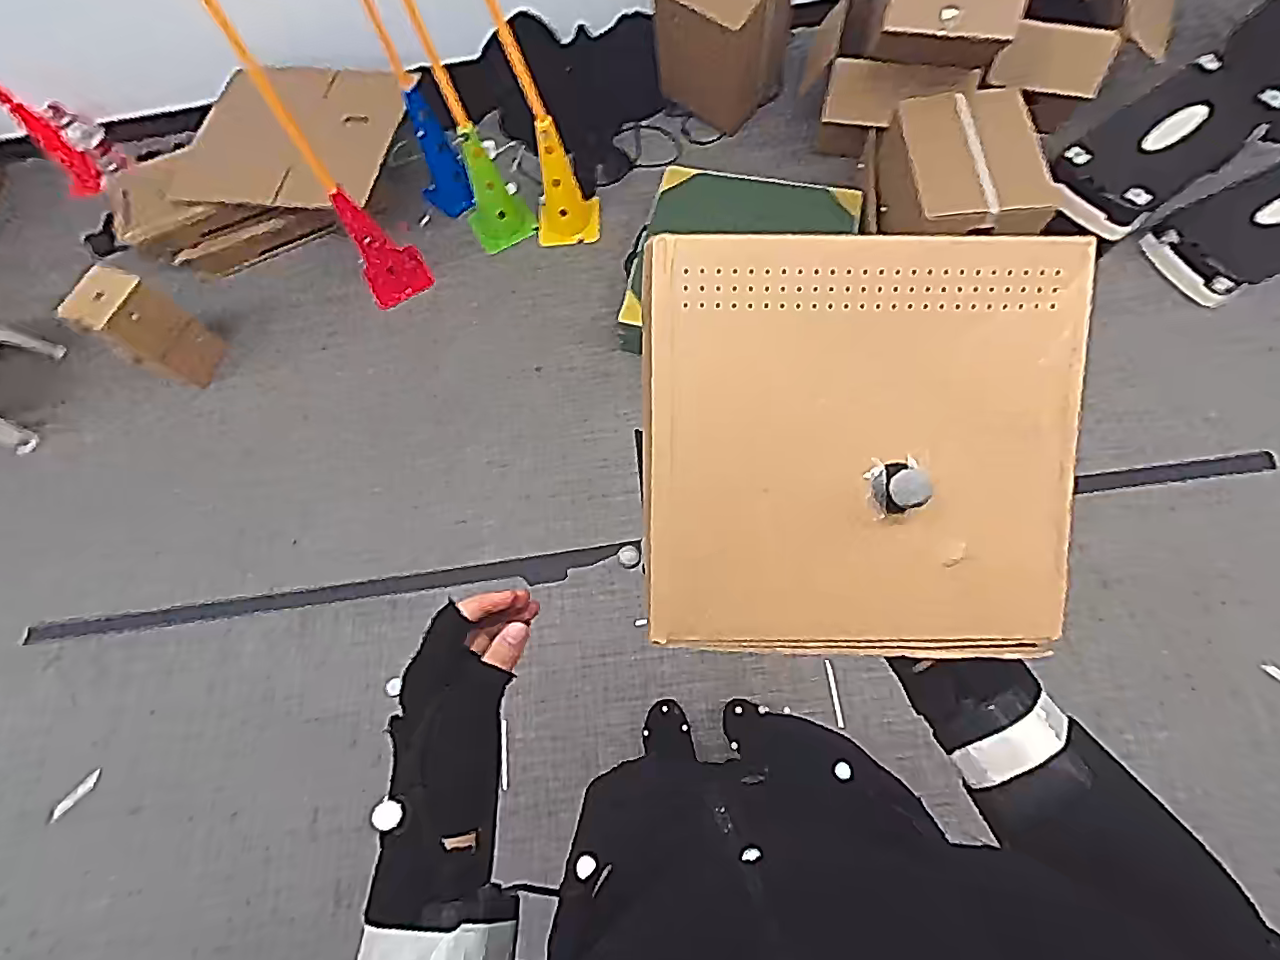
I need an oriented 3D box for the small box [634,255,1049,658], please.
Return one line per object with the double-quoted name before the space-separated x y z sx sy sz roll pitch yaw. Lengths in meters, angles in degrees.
"small box" 0.089 -0.019 0.304 0.179 0.168 0.176 -2 95 -1
